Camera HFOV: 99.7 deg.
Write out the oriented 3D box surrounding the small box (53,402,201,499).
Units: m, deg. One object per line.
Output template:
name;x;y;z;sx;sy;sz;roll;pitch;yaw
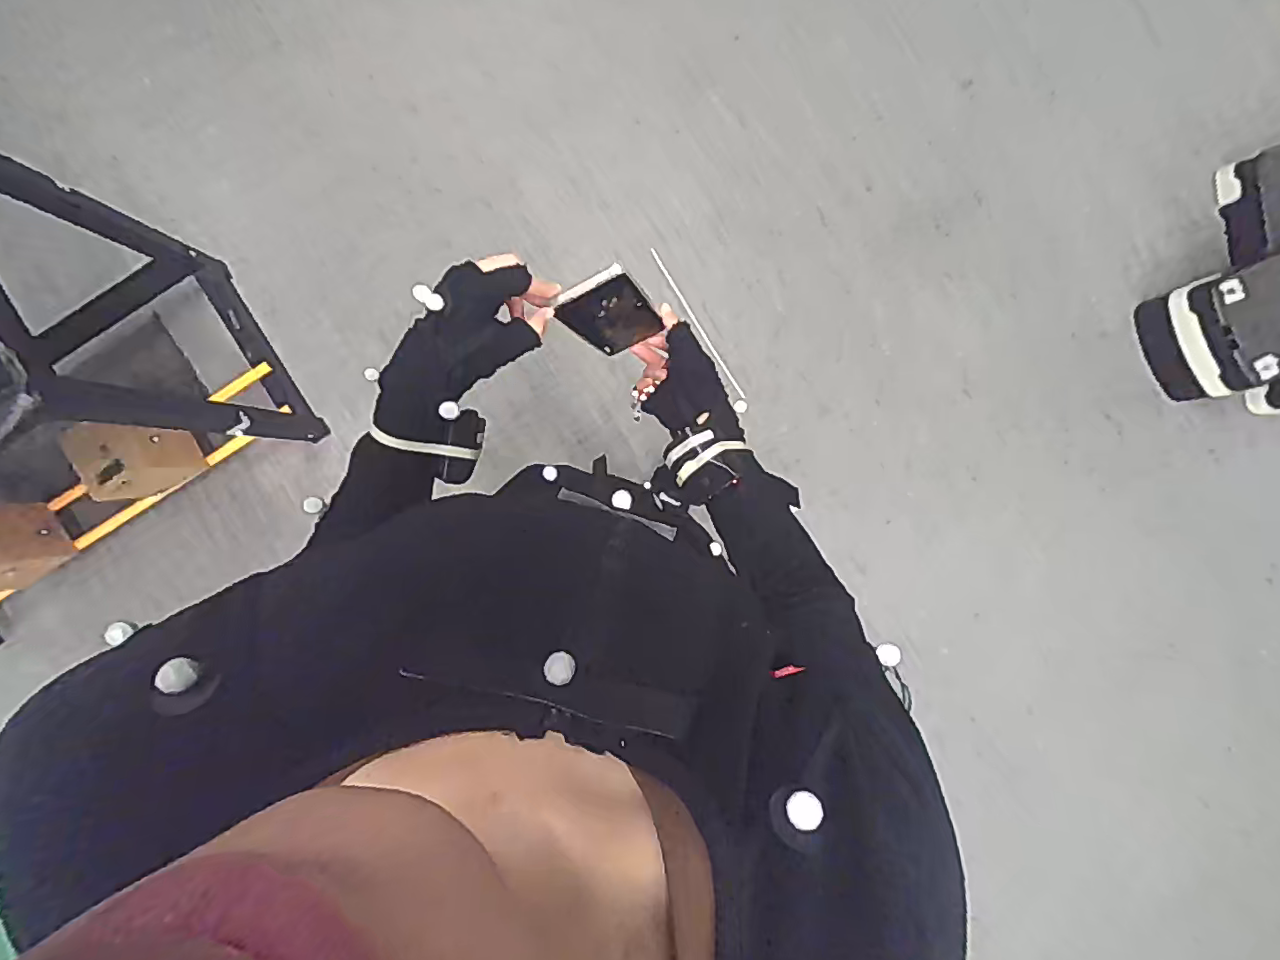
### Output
small box;-1.238;-0.071;1.322;0.168;0.176;0.179;-28;90;1
